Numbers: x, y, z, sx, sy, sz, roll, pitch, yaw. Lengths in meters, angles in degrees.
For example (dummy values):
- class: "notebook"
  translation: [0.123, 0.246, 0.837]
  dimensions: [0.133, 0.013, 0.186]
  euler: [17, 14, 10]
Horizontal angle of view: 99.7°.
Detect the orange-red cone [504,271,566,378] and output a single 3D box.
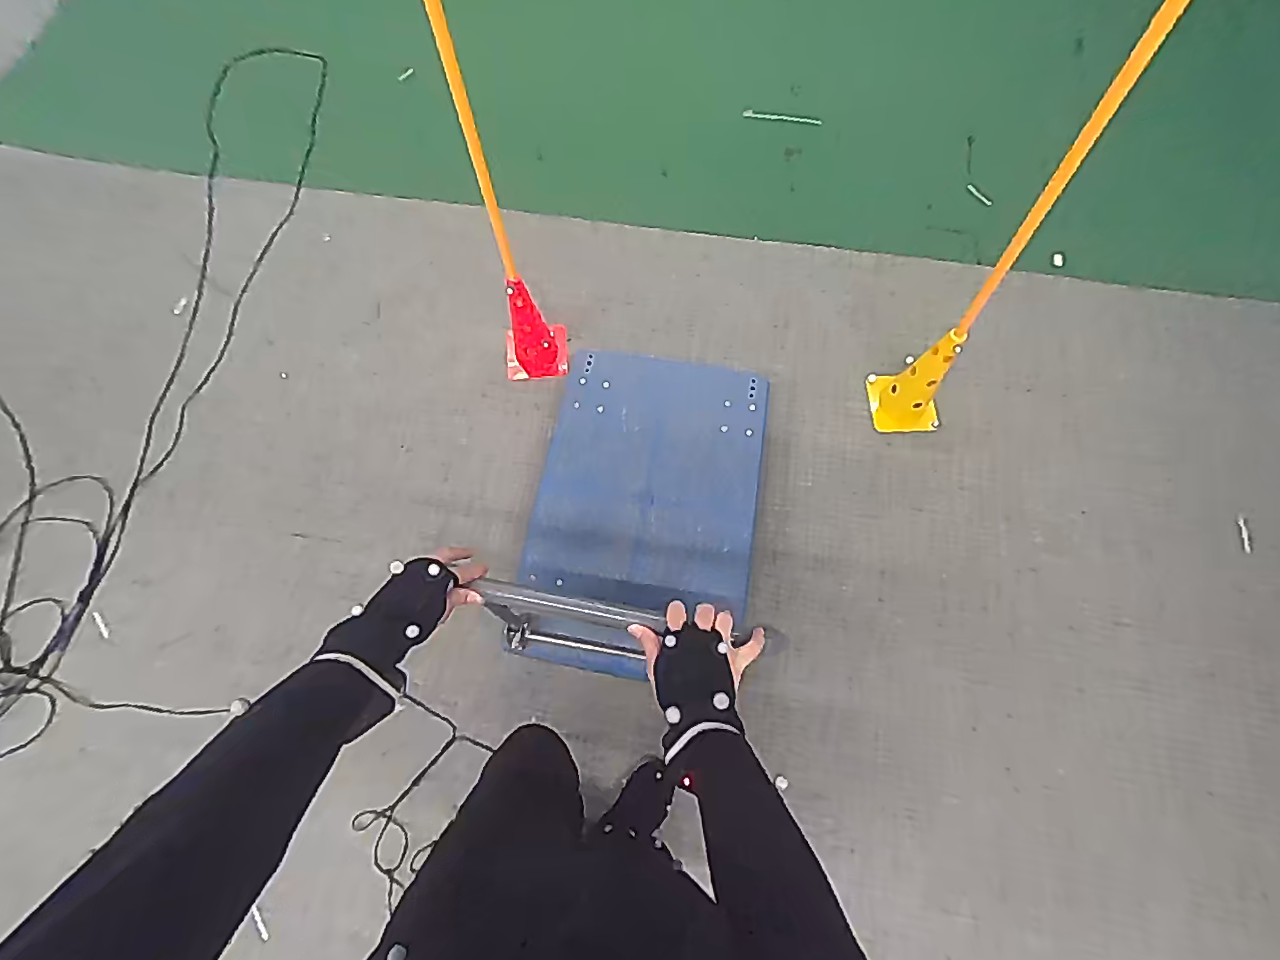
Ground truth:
- class: "orange-red cone"
  translation: [-0.350, -0.489, 1.635]
  dimensions: [0.199, 0.360, 0.198]
  euler: [-5, 68, 1]
